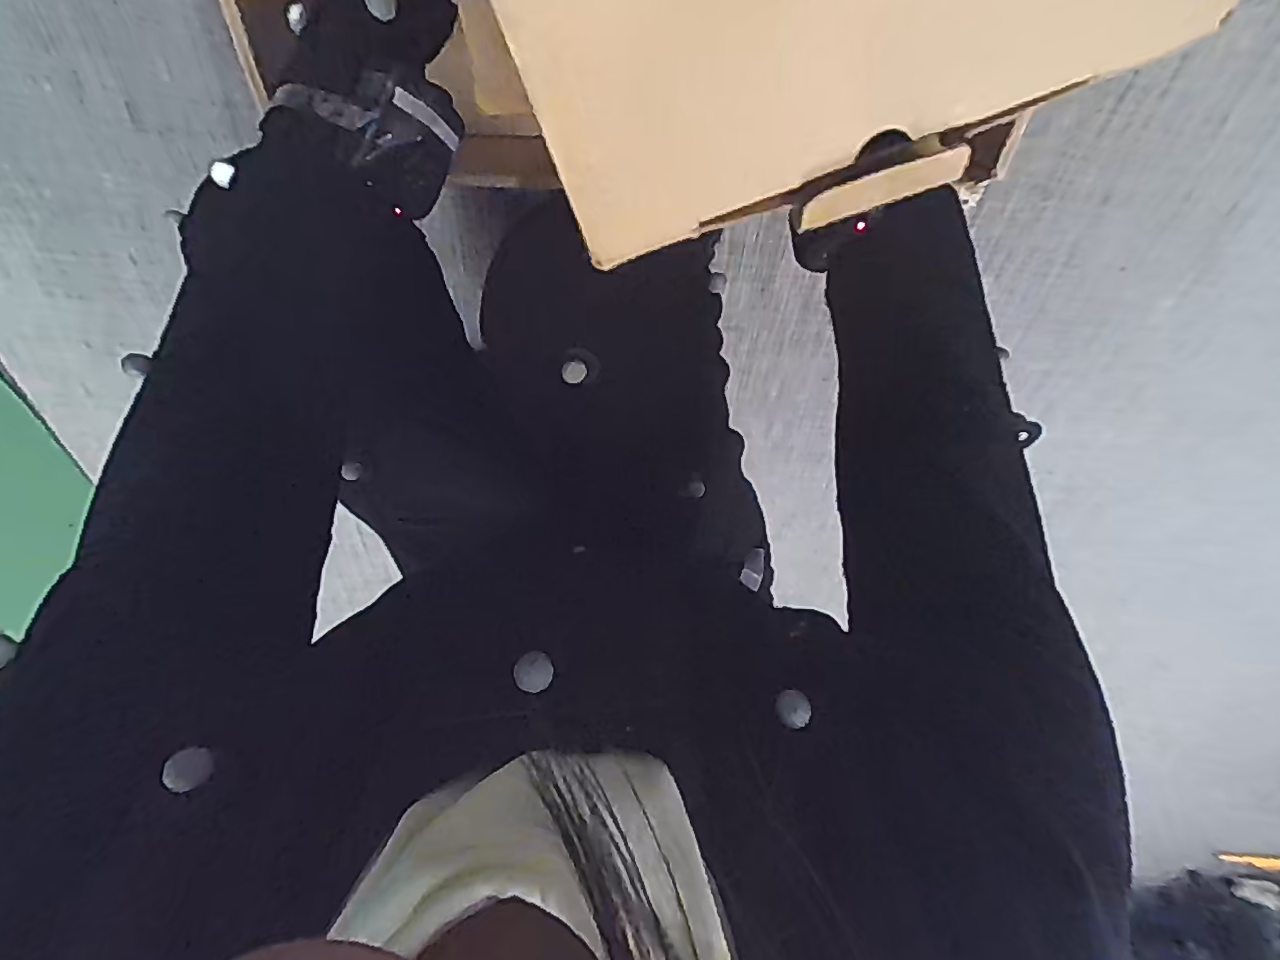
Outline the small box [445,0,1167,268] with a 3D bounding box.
[{"bbox_3d":[0.022,-0.197,0.149,0.168,0.176,0.179,-16,135,8],"label":"small box"}]
